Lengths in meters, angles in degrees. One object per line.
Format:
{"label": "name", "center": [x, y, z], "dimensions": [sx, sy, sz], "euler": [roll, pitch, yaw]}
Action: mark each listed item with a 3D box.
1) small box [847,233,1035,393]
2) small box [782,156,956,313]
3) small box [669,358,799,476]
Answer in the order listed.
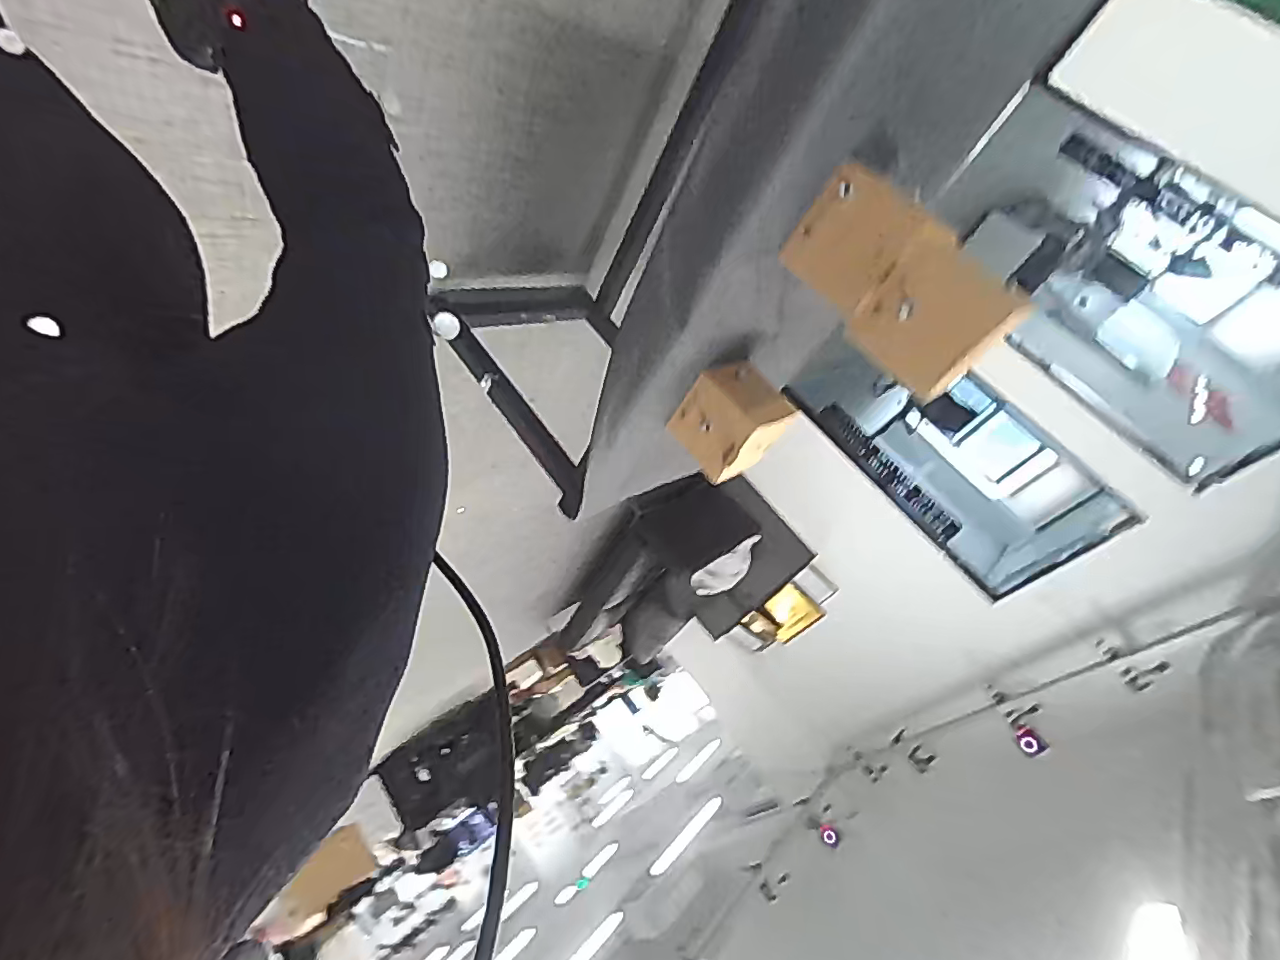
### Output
{"label": "small box", "center": [0.463, -0.264, 0.843], "dimensions": [0.179, 0.176, 0.168], "euler": [-22, 155, -43]}
{"label": "small box", "center": [0.364, -0.392, 0.877], "dimensions": [0.179, 0.176, 0.168], "euler": [-22, 155, -46]}
{"label": "small box", "center": [0.193, -0.138, 1.144], "dimensions": [0.179, 0.176, 0.168], "euler": [-21, 155, -44]}
